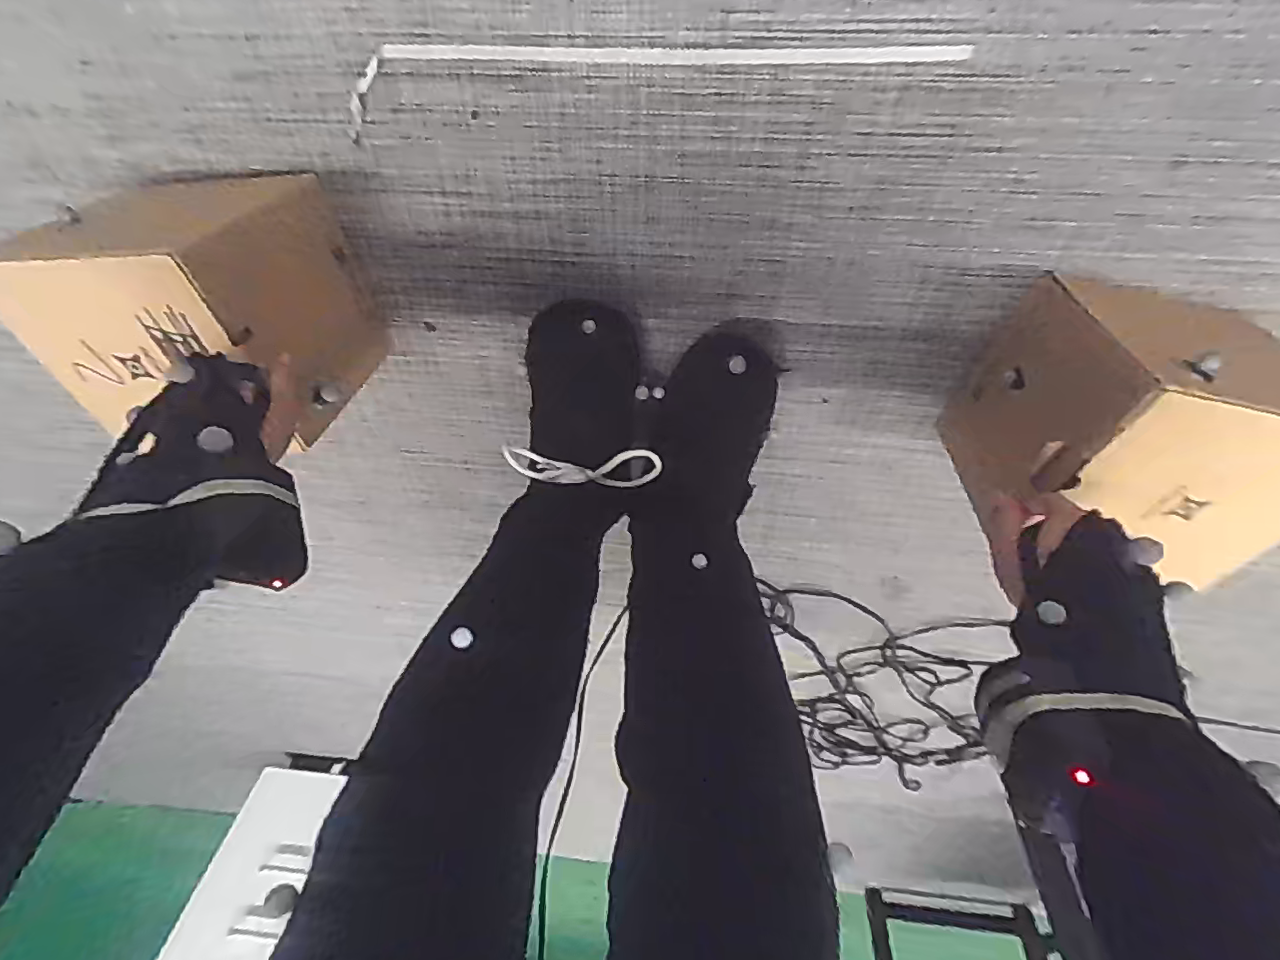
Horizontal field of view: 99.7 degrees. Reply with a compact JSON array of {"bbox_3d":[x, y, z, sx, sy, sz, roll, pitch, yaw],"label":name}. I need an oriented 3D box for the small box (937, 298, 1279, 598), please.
[{"bbox_3d":[0.391,-0.029,0.450,0.179,0.176,0.168,12,134,-2],"label":"small box"}]
